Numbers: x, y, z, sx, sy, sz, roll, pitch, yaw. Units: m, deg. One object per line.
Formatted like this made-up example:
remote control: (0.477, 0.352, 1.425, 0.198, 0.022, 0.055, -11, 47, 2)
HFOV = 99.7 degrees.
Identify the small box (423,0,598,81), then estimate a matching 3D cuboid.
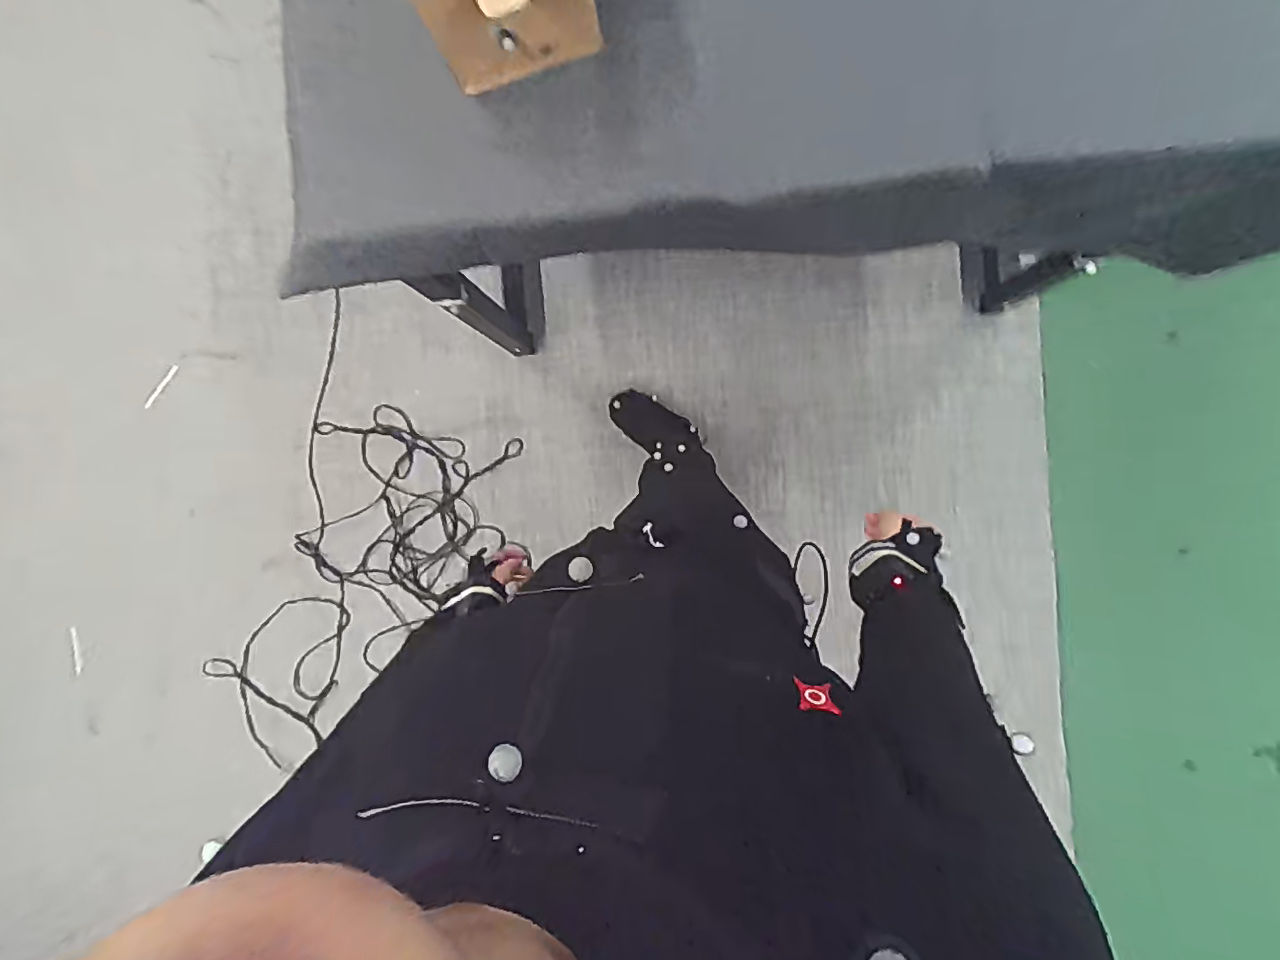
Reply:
small box: (-0.148, -0.547, 0.523, 0.168, 0.176, 0.179, -16, 91, 4)
